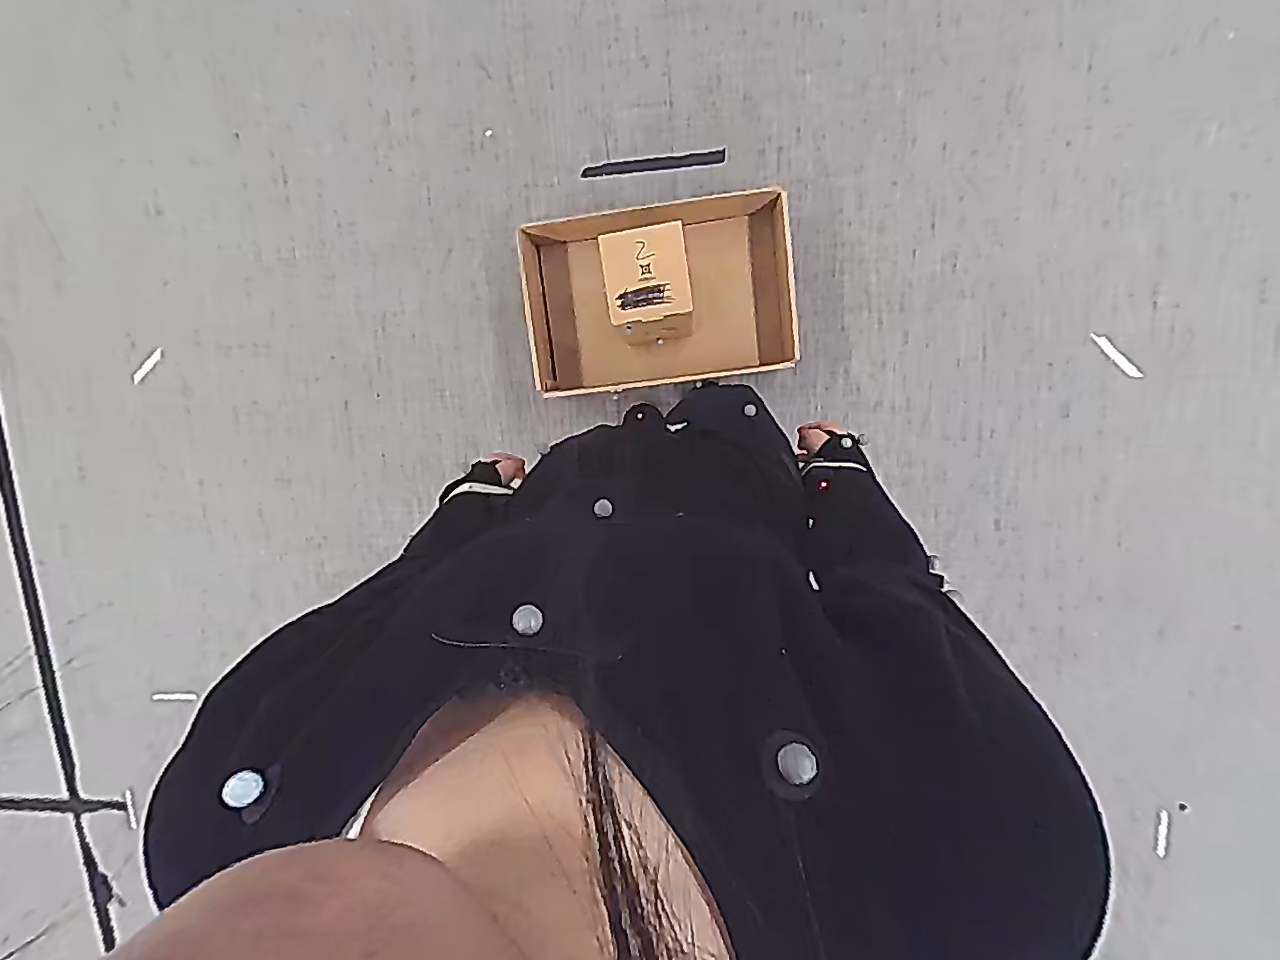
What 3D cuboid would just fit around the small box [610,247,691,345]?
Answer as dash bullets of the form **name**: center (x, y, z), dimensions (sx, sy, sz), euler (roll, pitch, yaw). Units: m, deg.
- **small box**: center (0.027, -0.431, 1.292), dimensions (0.168, 0.176, 0.179), euler (-8, 97, 6)
